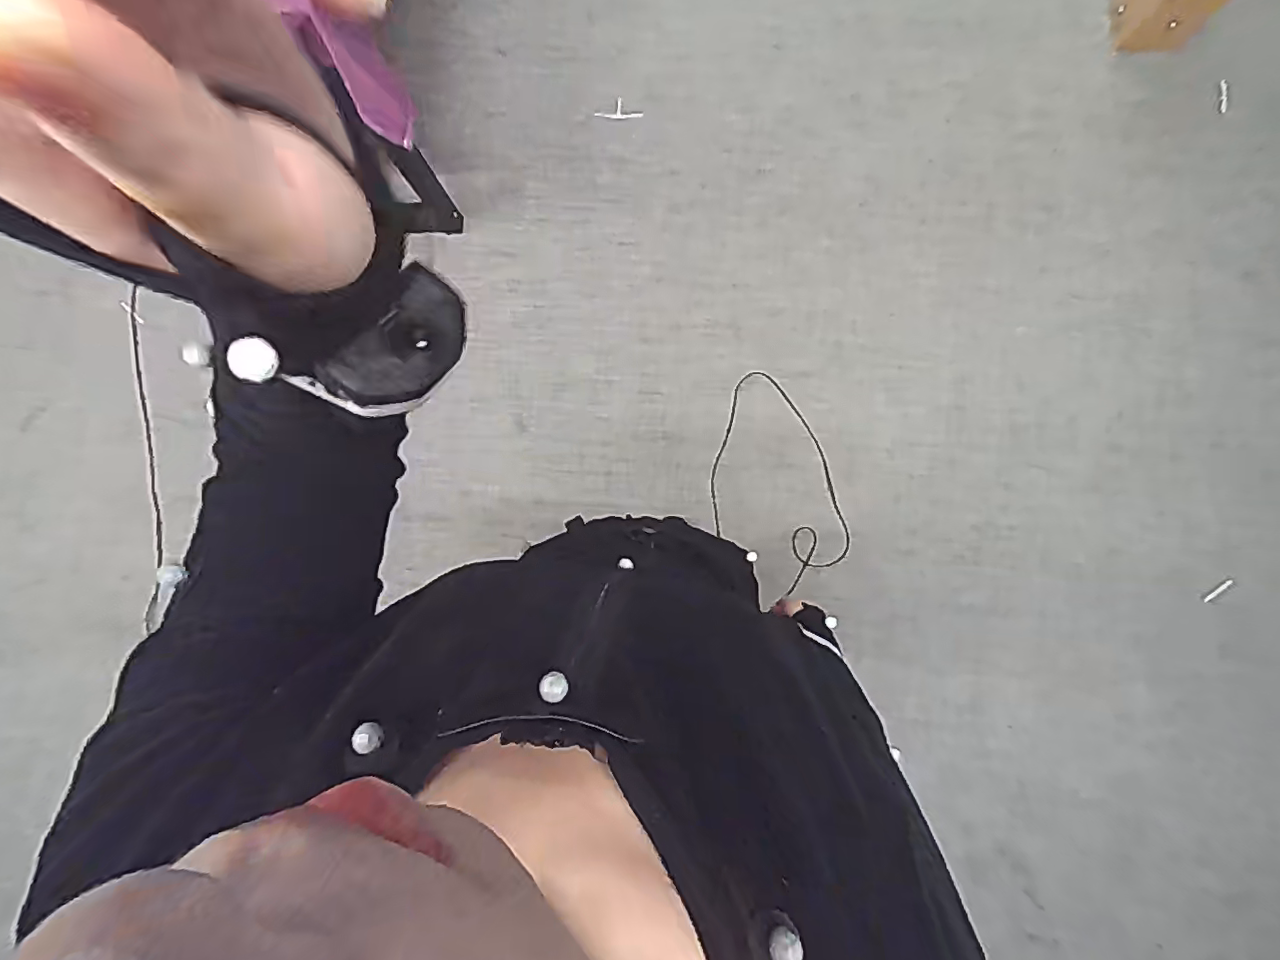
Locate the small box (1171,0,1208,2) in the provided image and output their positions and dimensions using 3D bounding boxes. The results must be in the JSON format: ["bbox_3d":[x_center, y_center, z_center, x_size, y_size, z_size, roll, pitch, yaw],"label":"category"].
[{"bbox_3d":[1.461,-1.333,1.333,0.179,0.176,0.168,-1,85,3],"label":"small box"}]
